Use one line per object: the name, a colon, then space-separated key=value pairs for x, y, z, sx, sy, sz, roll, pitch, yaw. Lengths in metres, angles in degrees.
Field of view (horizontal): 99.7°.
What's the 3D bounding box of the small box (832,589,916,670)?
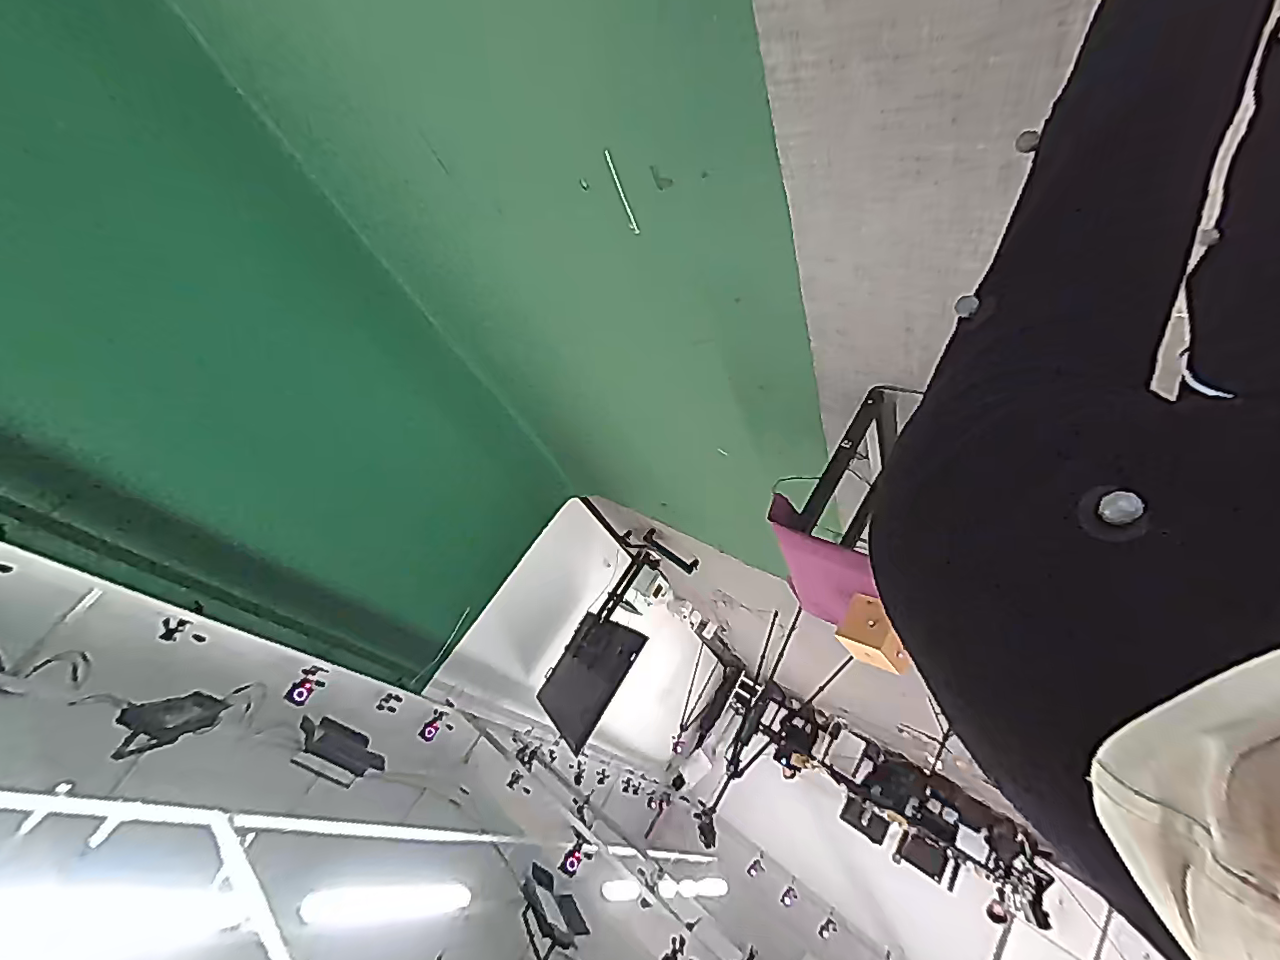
small box: x=0.762 y=0.479 z=1.753 sx=0.179 sy=0.176 sz=0.168 roll=45 pitch=159 yaw=-30
